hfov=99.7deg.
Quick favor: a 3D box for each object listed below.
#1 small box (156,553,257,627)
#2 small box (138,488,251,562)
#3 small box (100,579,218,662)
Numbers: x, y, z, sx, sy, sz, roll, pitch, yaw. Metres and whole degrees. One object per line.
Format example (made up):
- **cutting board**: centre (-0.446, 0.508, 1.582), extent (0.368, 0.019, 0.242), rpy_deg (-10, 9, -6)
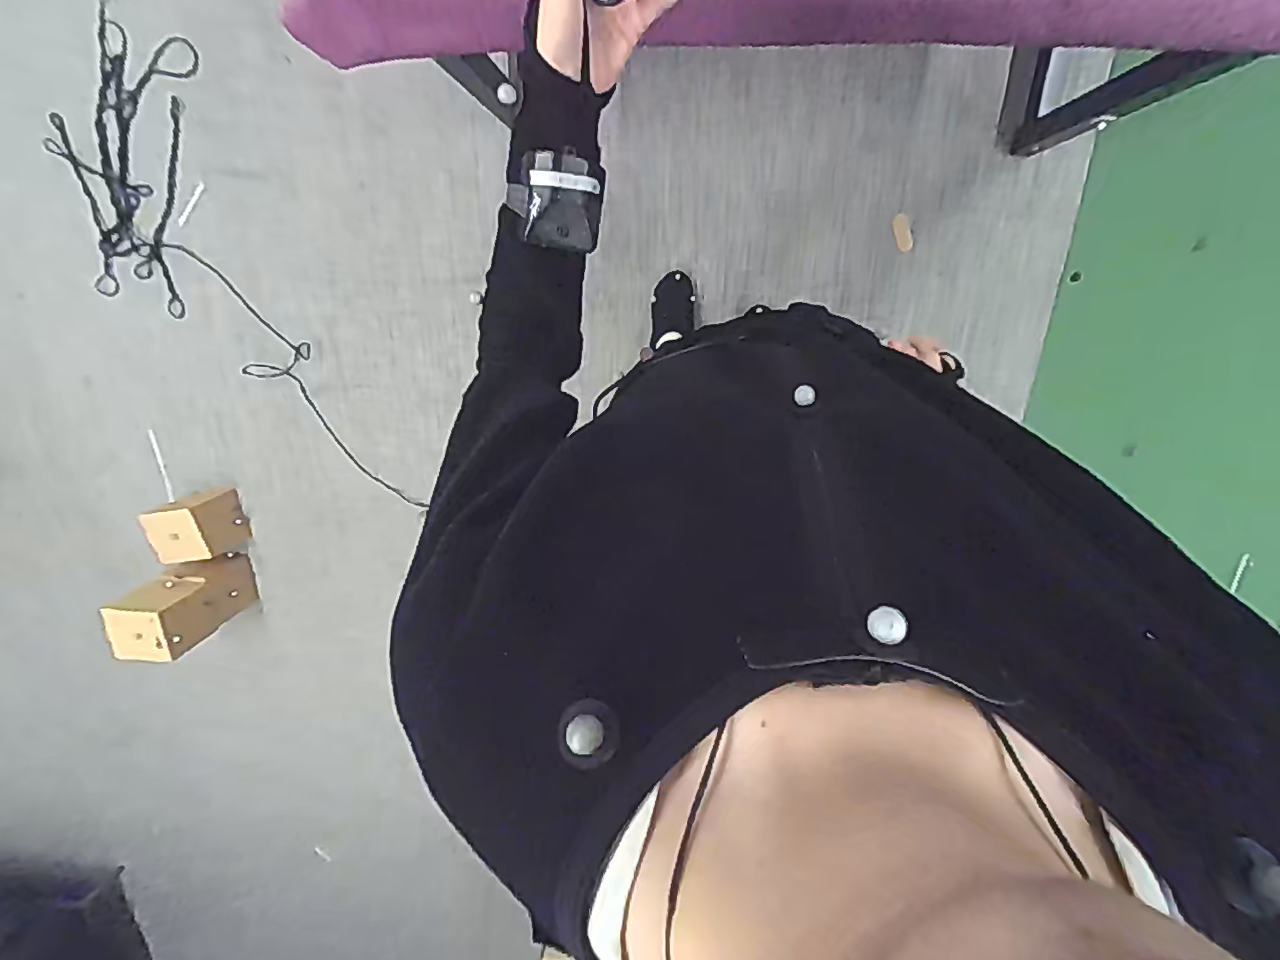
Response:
- **small box**: centre (-1.373, 0.342, 1.723), extent (0.168, 0.176, 0.179), rpy_deg (3, 110, 6)
- **small box**: centre (-1.351, 0.135, 1.651), extent (0.179, 0.176, 0.168), rpy_deg (-7, 109, 8)
- **small box**: centre (-1.389, 0.401, 1.571), extent (0.179, 0.176, 0.168), rpy_deg (4, 110, 6)
